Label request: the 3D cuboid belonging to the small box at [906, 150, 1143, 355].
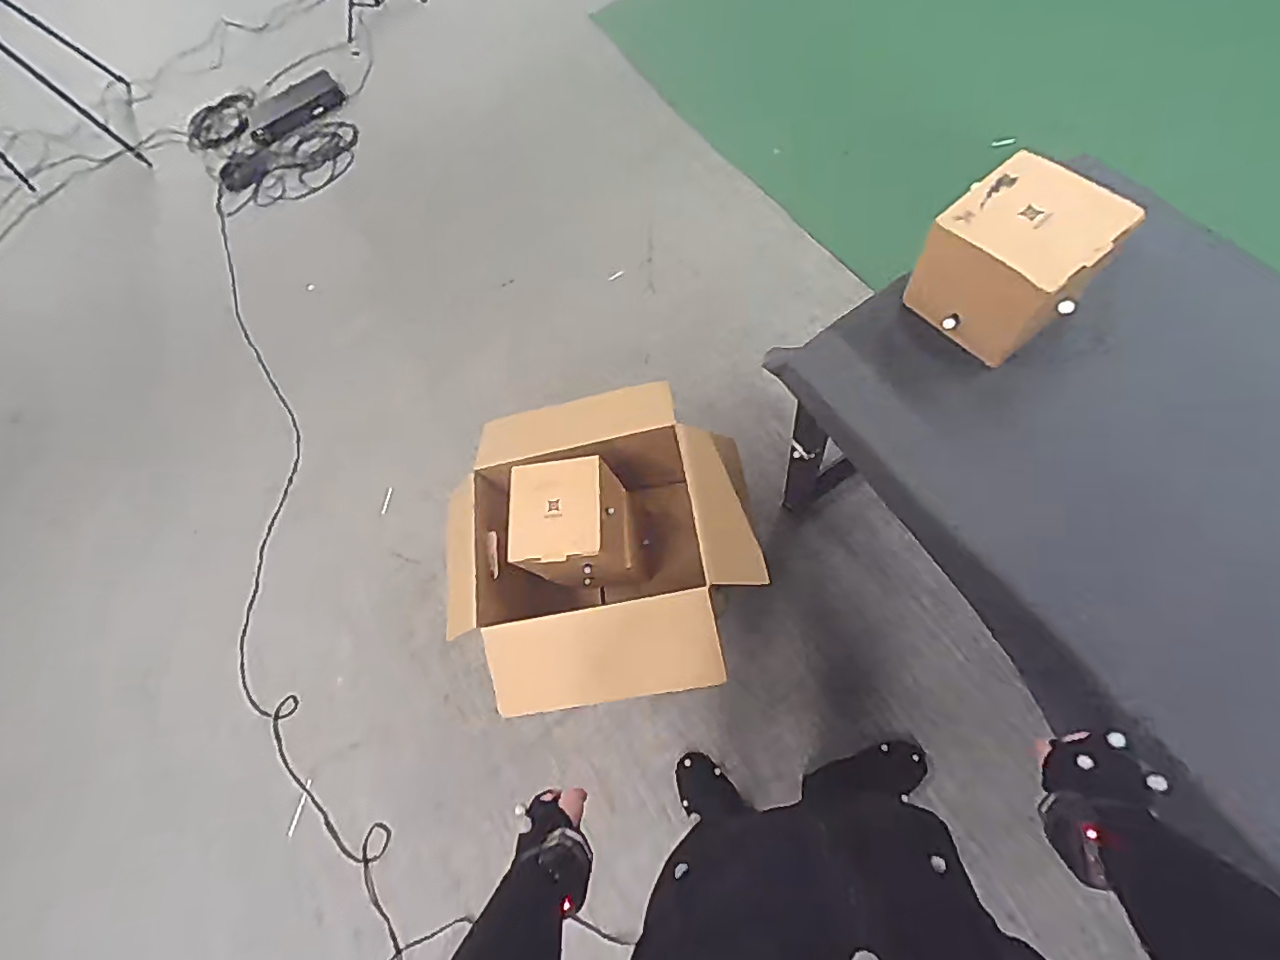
[{"bbox_3d":[0.513,-0.301,0.755,0.168,0.176,0.179,-38,68,-5],"label":"small box"}]
